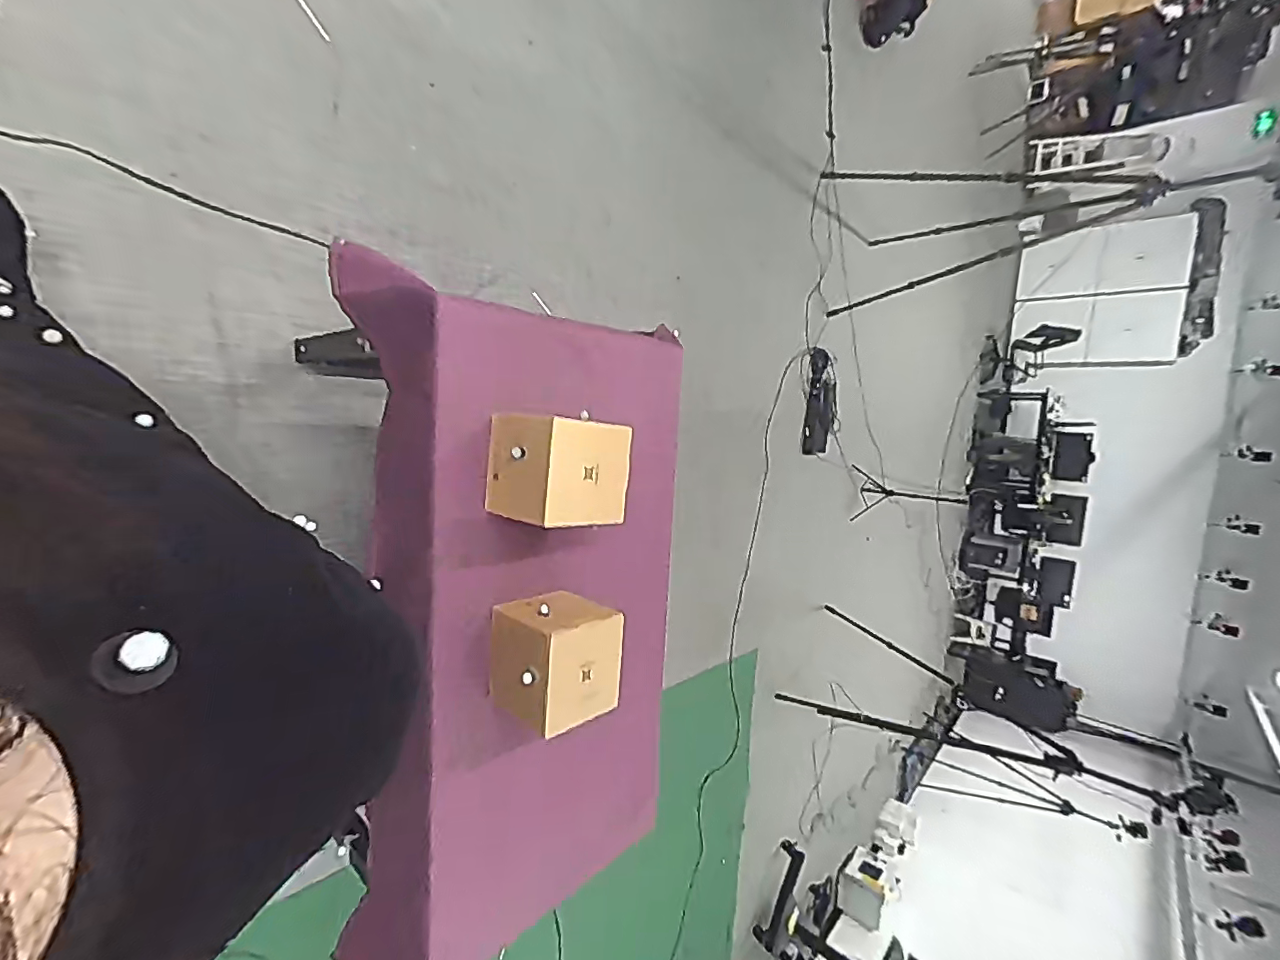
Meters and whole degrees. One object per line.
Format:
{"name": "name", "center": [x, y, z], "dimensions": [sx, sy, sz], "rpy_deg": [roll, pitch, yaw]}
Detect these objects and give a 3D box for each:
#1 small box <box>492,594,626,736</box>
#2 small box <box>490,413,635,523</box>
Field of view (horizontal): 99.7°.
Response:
{"name": "small box", "center": [-0.145, 0.309, 0.955], "dimensions": [0.168, 0.176, 0.179], "rpy_deg": [-1, 98, -47]}
{"name": "small box", "center": [-0.133, -0.022, 0.910], "dimensions": [0.179, 0.176, 0.168], "rpy_deg": [1, 96, -49]}
